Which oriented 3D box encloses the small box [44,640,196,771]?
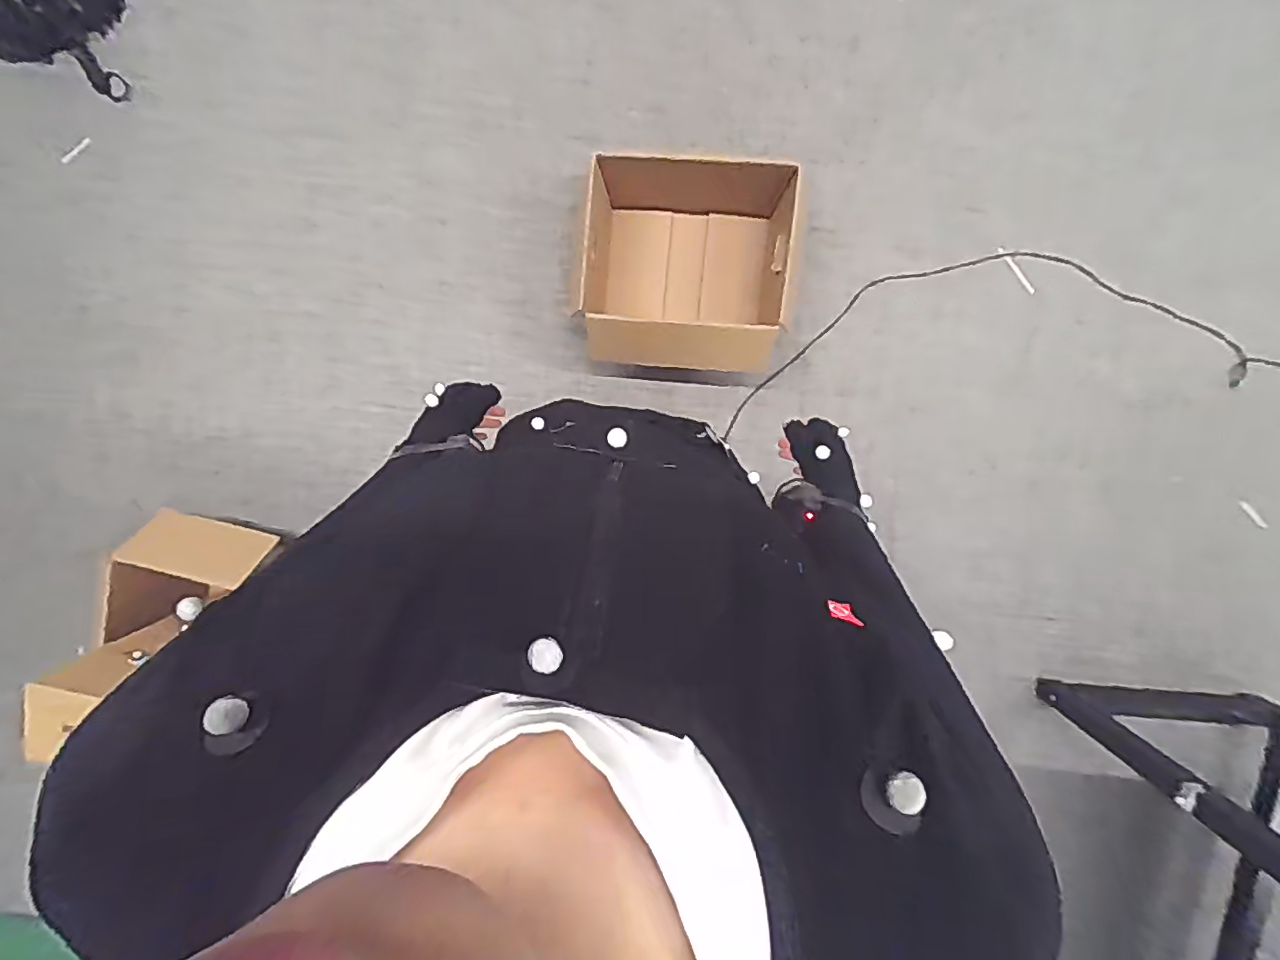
[{"bbox_3d":[-1.086,0.467,1.141,0.168,0.176,0.179,12,101,-1],"label":"small box"}]
